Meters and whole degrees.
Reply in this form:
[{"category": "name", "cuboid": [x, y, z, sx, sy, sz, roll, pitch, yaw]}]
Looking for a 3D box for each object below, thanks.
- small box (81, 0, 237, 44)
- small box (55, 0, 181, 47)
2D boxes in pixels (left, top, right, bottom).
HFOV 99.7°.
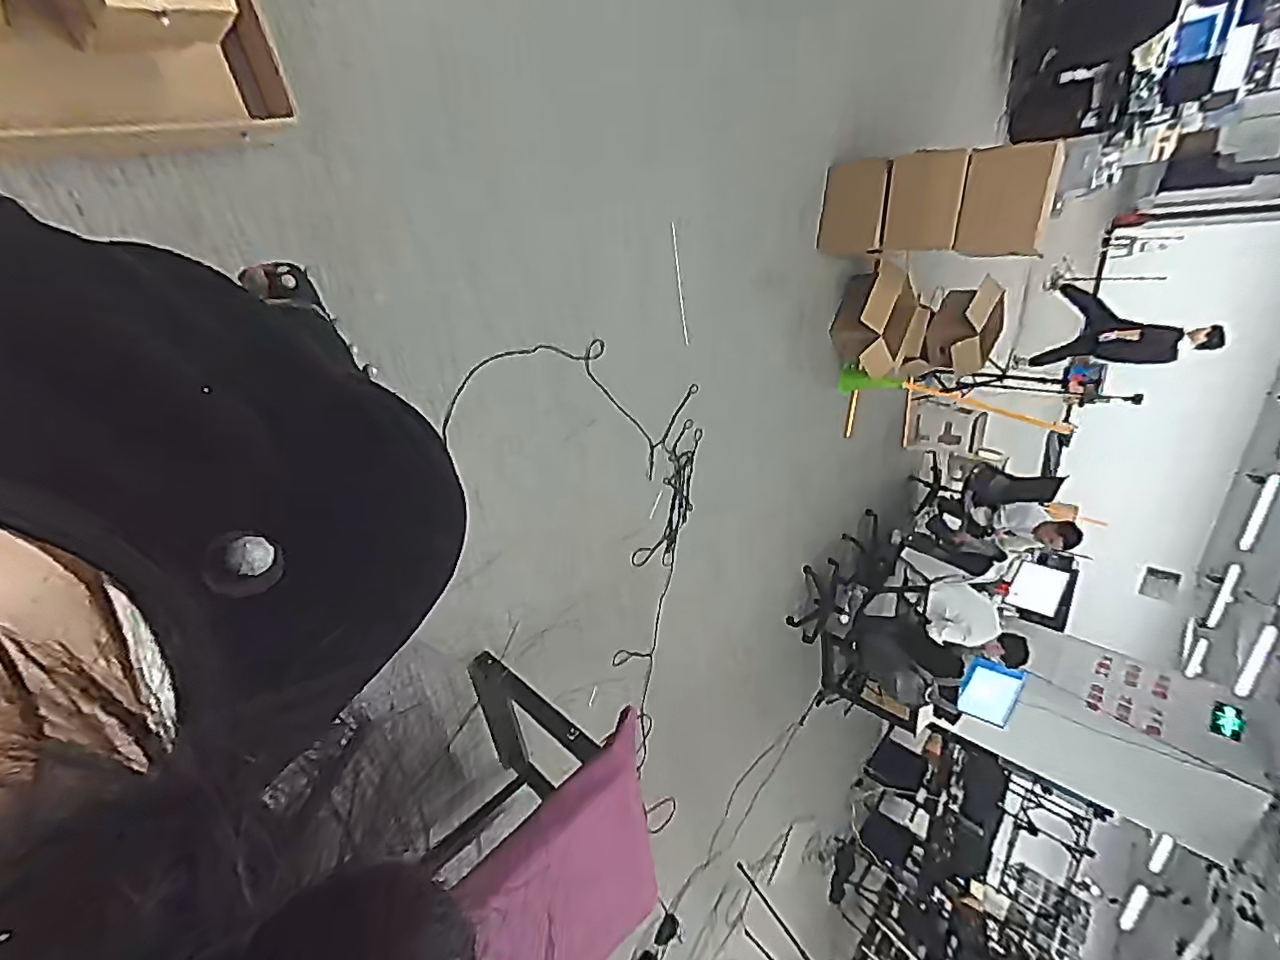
[{"category": "small box", "cuboid": [-0.744, -0.780, 0.796, 0.168, 0.176, 0.179, -33, 125, -35]}, {"category": "small box", "cuboid": [-0.868, -0.837, 0.887, 0.179, 0.176, 0.168, -37, 128, -34]}]
